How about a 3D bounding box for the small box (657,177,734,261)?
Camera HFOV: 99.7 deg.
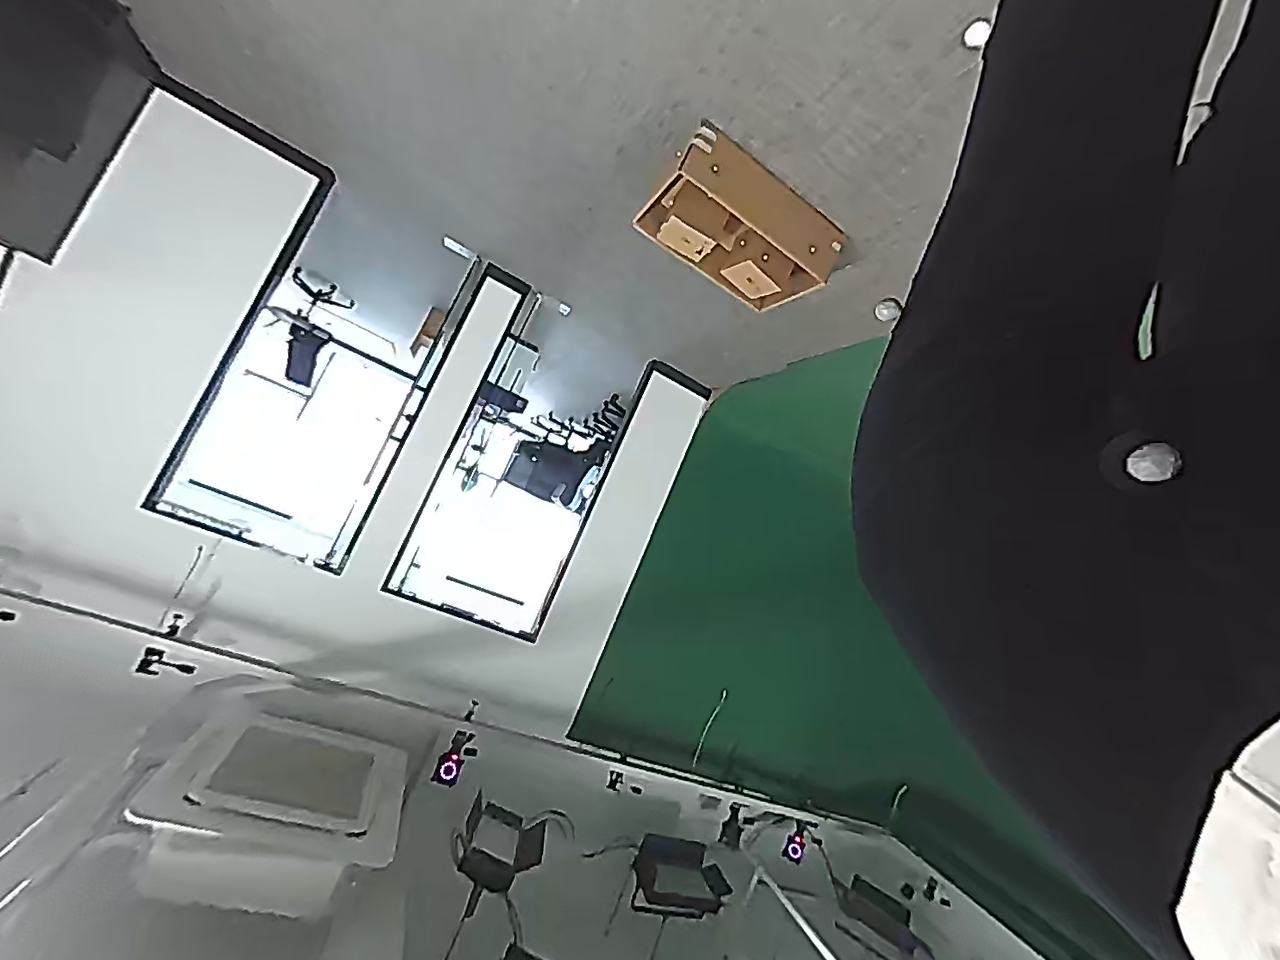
[{"bbox_3d":[0.188,-0.892,1.842,0.179,0.176,0.168,25,172,-16],"label":"small box"}]
